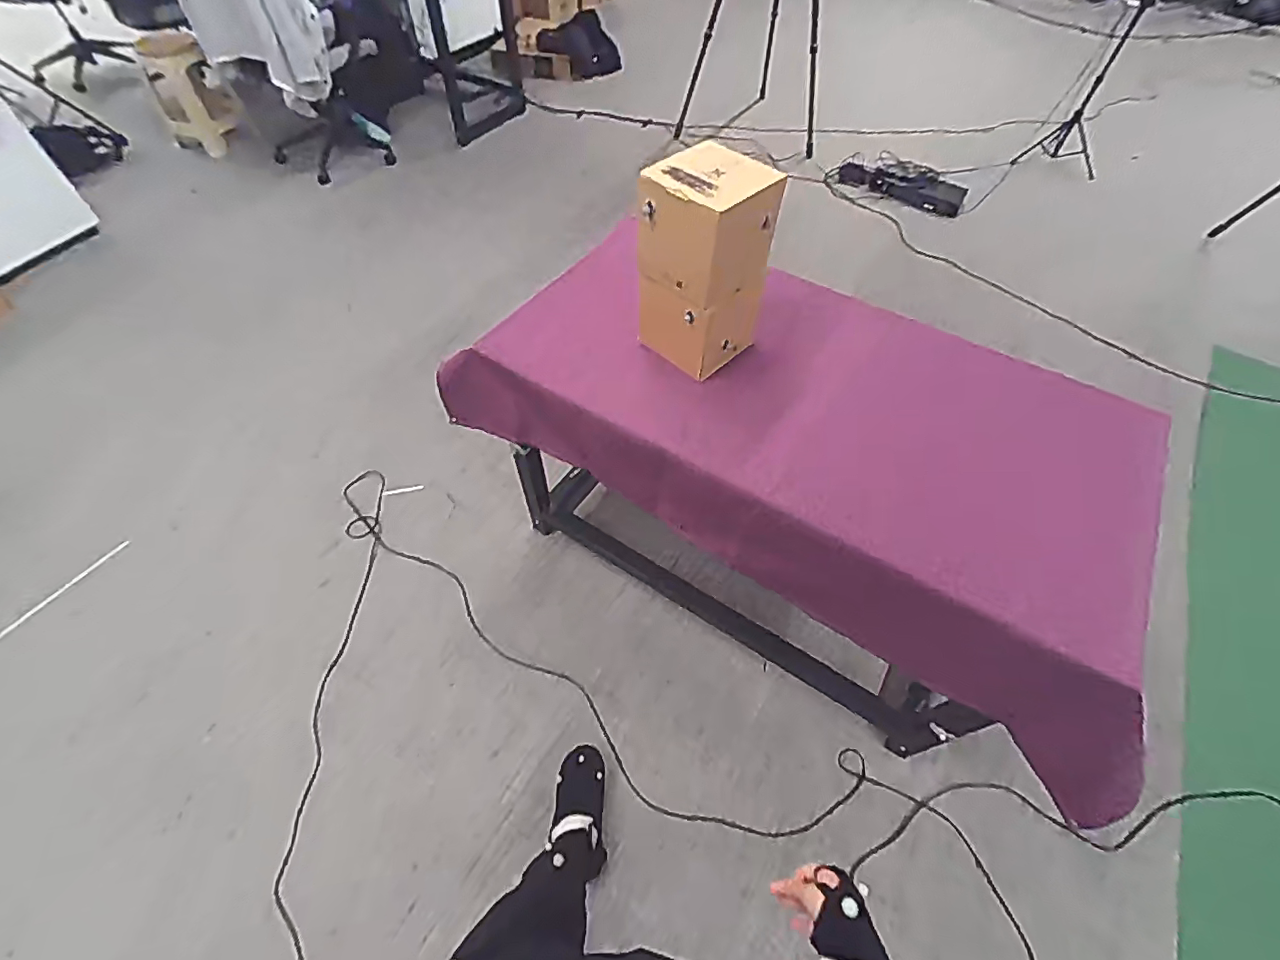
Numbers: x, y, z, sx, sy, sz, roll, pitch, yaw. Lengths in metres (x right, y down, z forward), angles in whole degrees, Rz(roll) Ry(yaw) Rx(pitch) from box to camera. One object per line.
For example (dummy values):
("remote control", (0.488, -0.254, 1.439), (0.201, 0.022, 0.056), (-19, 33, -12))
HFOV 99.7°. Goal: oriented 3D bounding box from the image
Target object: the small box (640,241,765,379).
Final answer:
("small box", (0.113, -0.331, 1.063), (0.179, 0.176, 0.168), (39, 62, 23))
